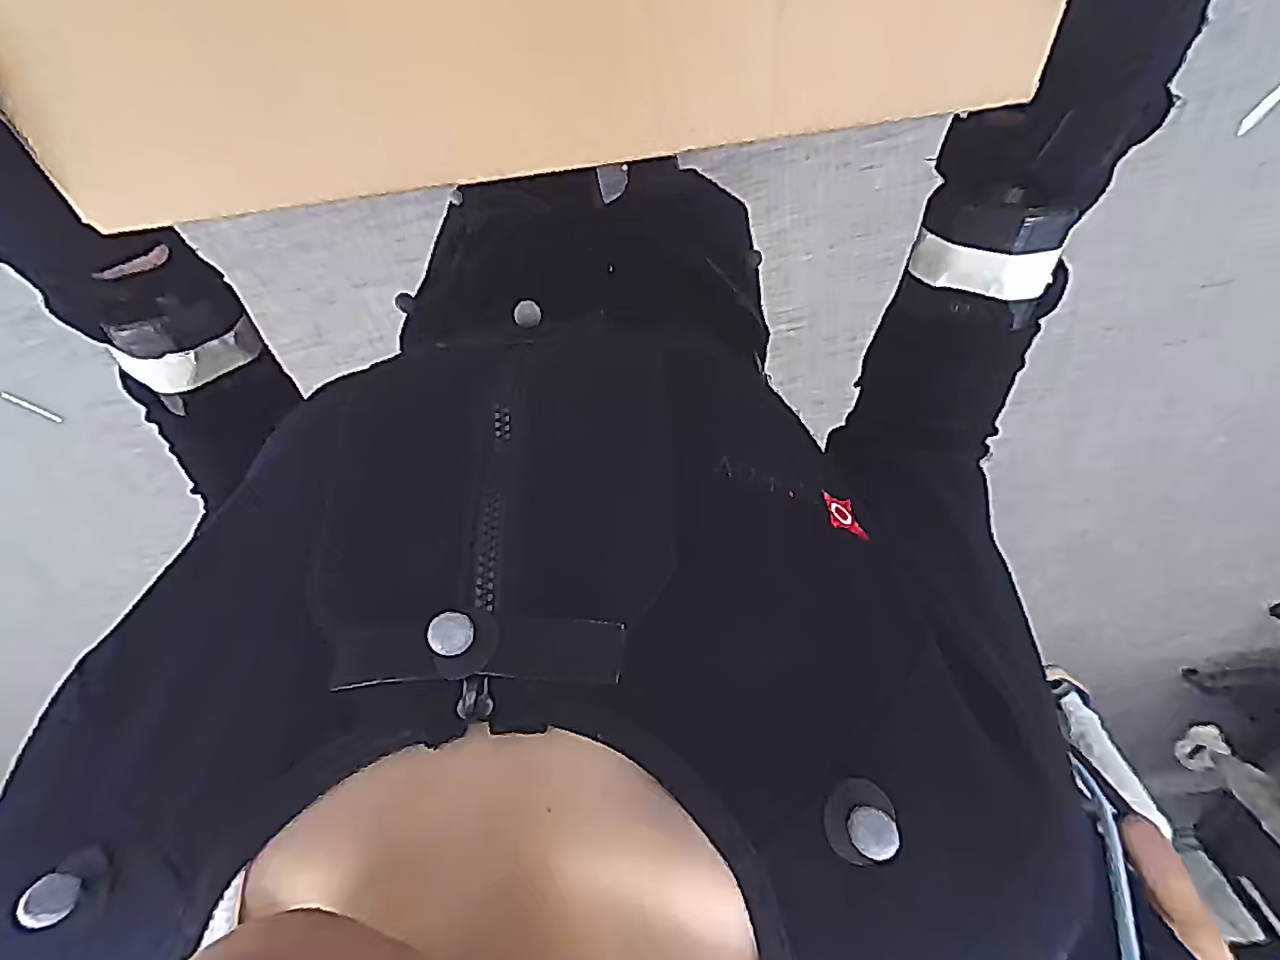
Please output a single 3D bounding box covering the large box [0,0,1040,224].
[{"bbox_3d":[-0.066,-0.354,0.244,0.408,0.320,0.320,-6,134,5],"label":"large box"}]
